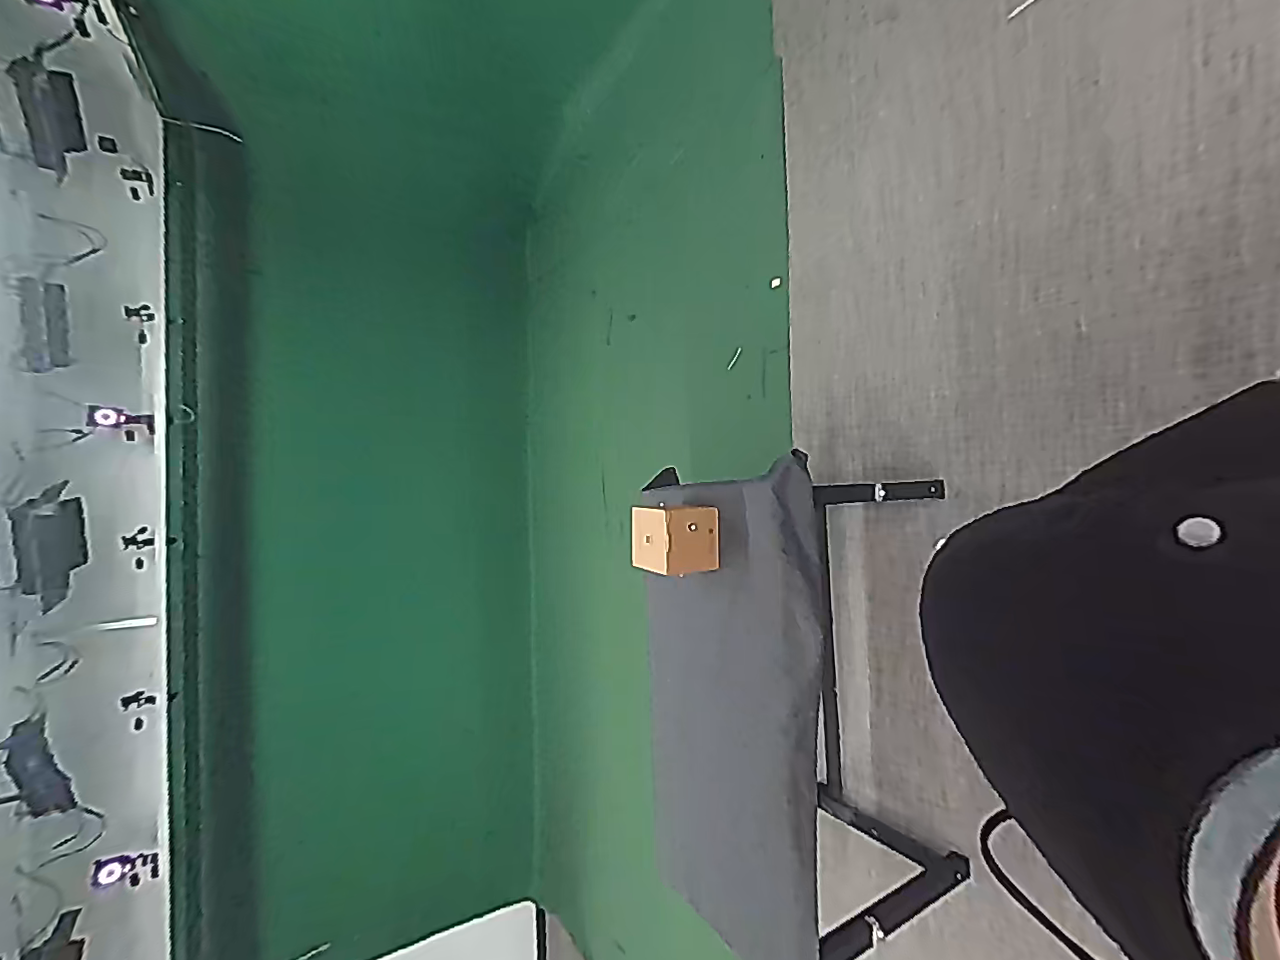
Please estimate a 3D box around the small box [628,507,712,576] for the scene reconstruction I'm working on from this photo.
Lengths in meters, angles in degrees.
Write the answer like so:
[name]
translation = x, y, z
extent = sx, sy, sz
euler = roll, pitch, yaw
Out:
[small box]
translation = 0.080, 0.160, 1.457
extent = 0.179, 0.176, 0.168
euler = -1, 88, 60
